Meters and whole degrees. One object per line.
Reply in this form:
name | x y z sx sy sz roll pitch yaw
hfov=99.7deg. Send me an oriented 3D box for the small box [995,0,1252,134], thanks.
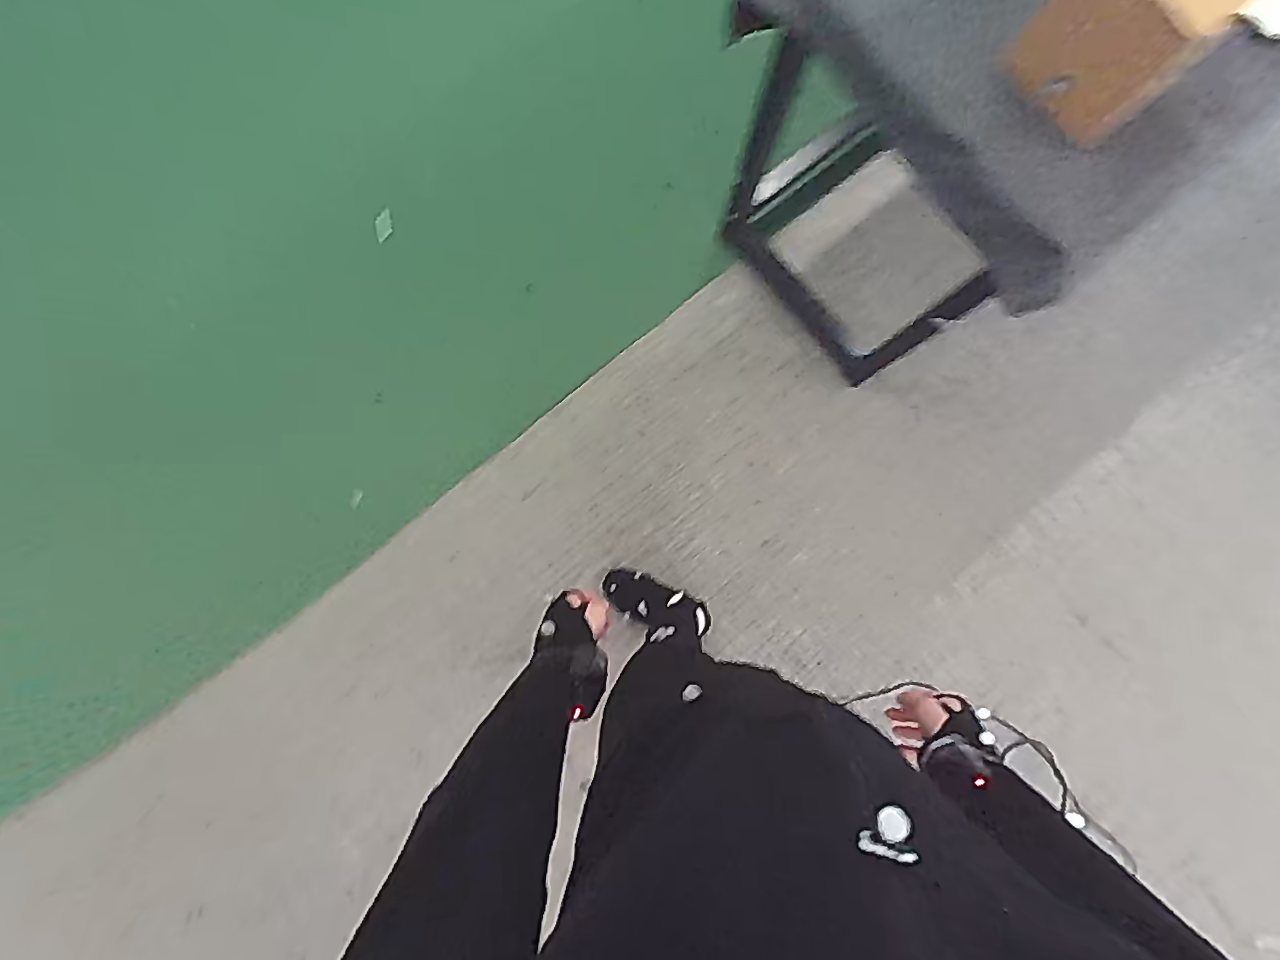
small box | 0.620 -0.592 0.696 0.168 0.176 0.179 -39 86 -6
